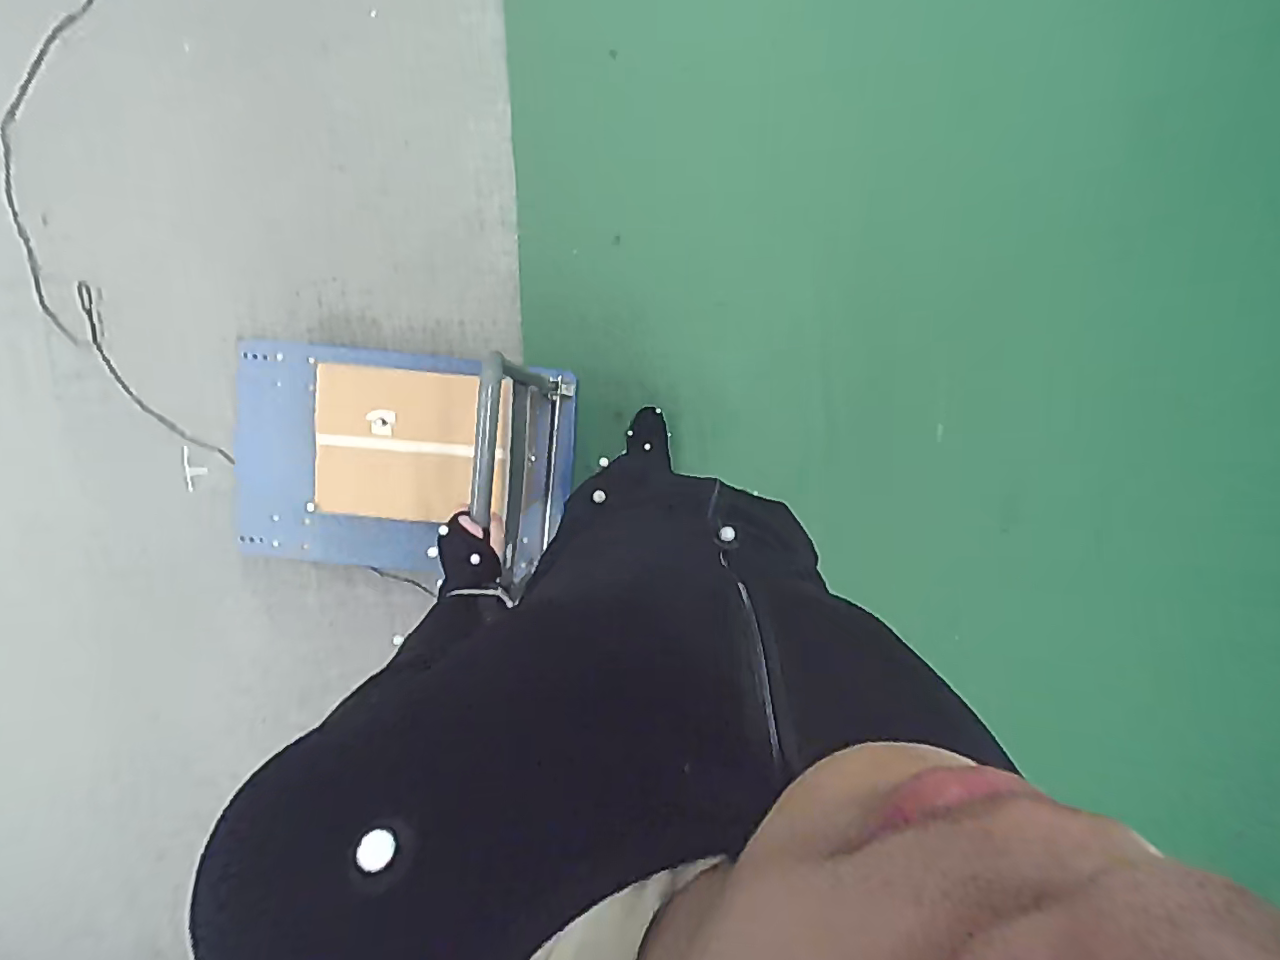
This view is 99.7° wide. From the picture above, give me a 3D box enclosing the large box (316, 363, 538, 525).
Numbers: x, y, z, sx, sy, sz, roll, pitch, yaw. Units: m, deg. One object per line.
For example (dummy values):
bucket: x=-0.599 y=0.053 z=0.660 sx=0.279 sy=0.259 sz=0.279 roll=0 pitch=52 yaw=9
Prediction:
large box: x=-0.467 y=-0.090 z=1.262 sx=0.408 sy=0.320 sz=0.320 roll=5 pitch=96 yaw=-2
